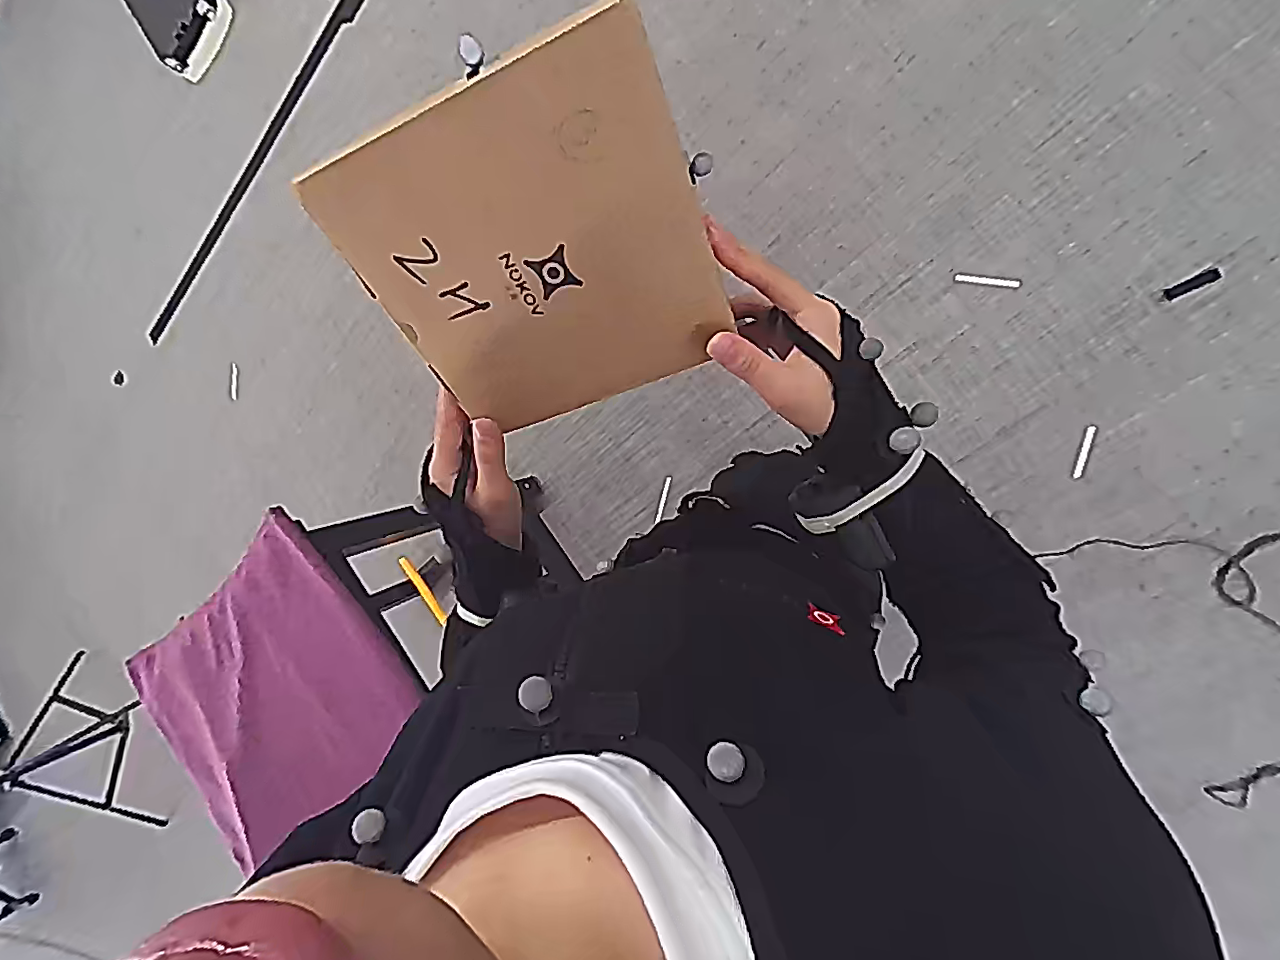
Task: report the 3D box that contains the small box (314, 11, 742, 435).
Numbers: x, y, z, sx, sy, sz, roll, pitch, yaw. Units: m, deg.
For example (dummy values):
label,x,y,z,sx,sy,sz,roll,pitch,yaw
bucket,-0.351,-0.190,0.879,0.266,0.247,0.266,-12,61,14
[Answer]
label,x,y,z,sx,sy,sz,roll,pitch,yaw
small box,-0.050,-0.163,0.346,0.179,0.176,0.168,-17,130,15
